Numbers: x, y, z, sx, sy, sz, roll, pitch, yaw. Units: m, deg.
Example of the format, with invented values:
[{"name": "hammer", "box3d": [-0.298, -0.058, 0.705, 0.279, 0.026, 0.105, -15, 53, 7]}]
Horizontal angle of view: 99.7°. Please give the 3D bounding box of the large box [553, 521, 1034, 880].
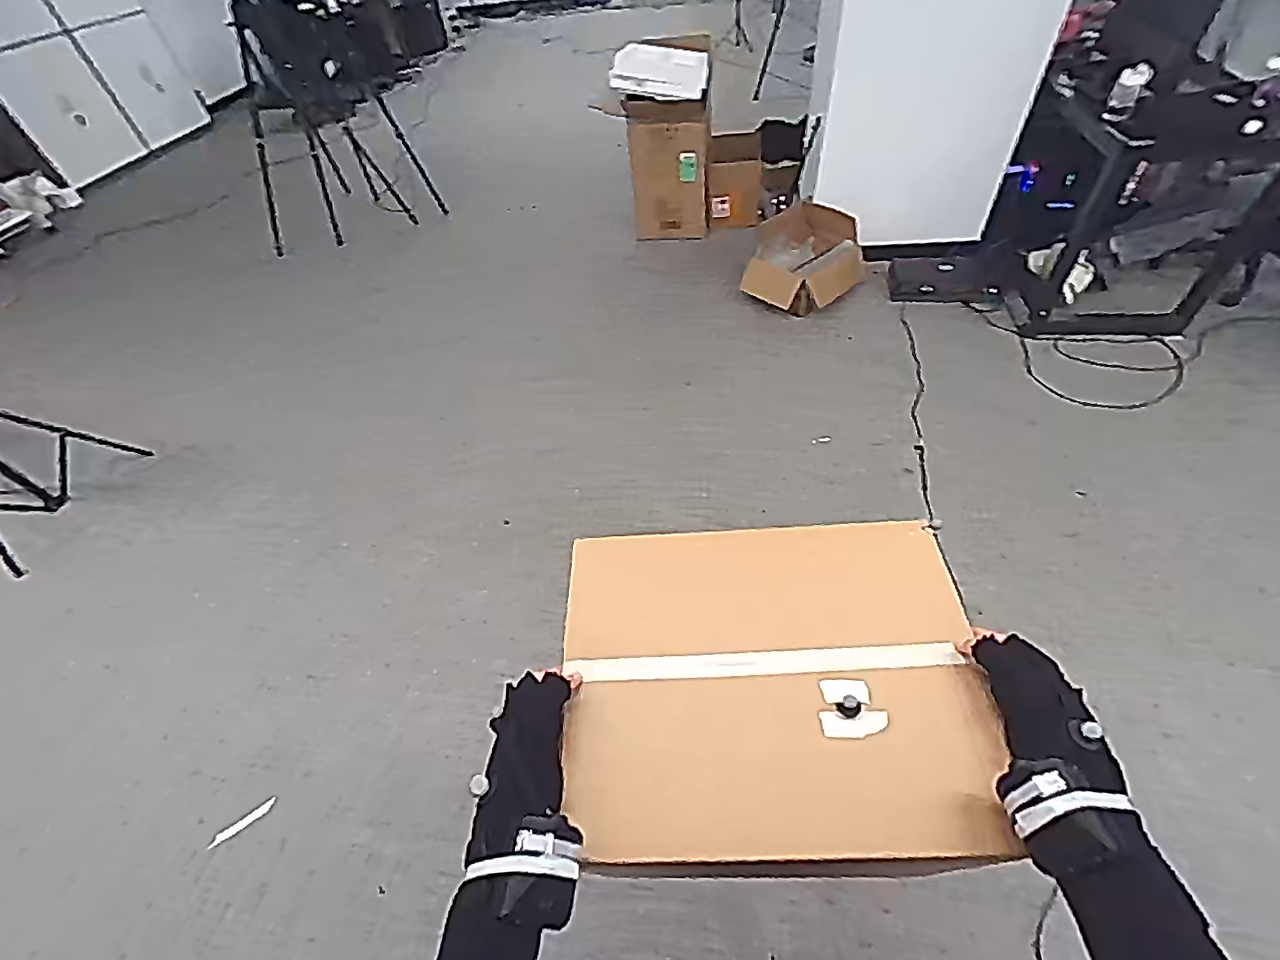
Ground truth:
[{"name": "large box", "box3d": [0.129, 0.274, 0.651, 0.408, 0.320, 0.320, -4, 52, 3]}]
